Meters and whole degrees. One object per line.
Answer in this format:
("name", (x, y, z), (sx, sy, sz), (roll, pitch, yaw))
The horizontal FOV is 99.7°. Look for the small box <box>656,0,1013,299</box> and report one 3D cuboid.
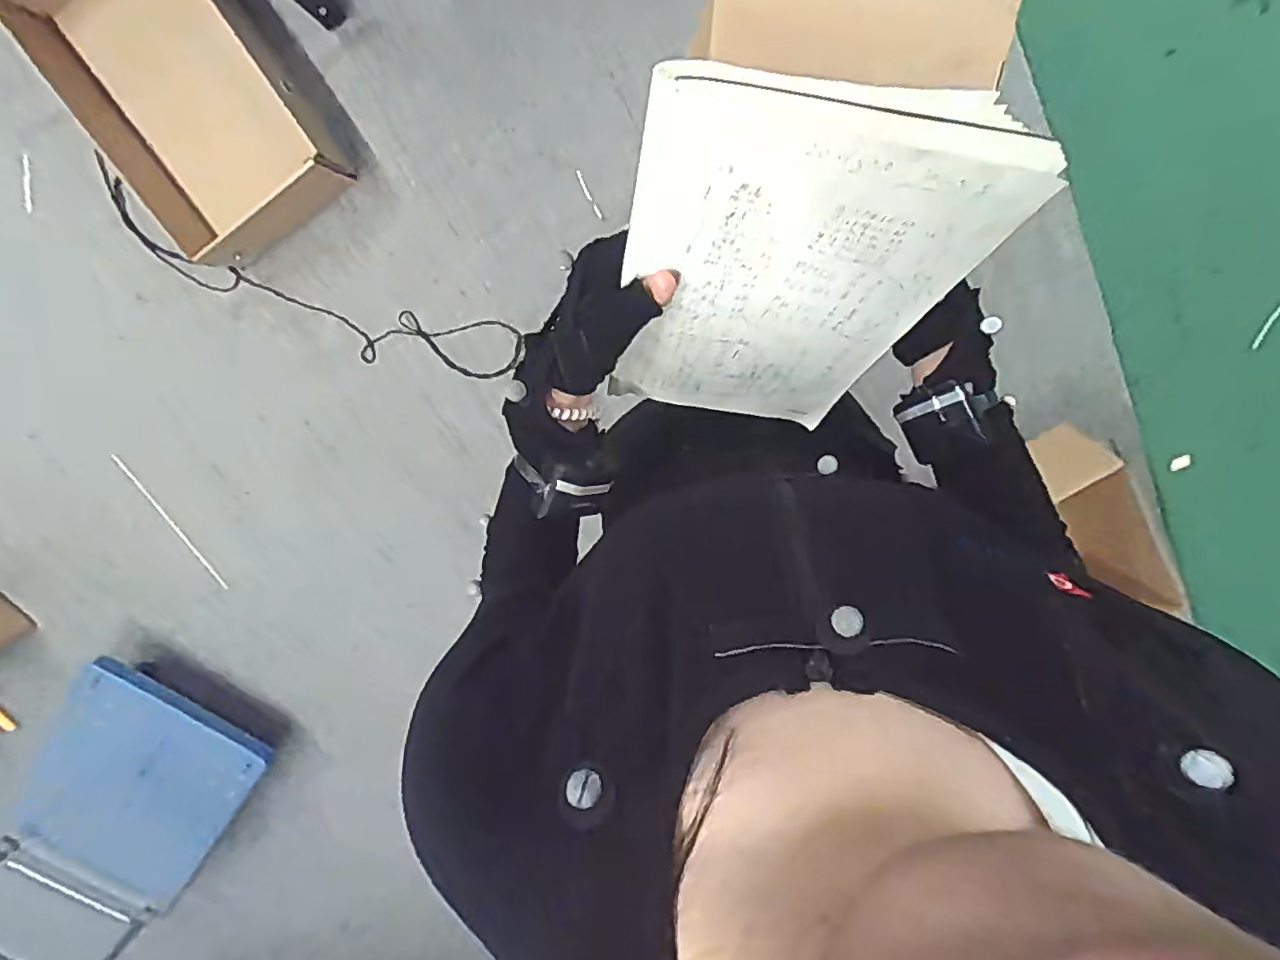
("small box", (0.113, -0.230, 0.398), (0.179, 0.176, 0.168), (3, 110, -5))
